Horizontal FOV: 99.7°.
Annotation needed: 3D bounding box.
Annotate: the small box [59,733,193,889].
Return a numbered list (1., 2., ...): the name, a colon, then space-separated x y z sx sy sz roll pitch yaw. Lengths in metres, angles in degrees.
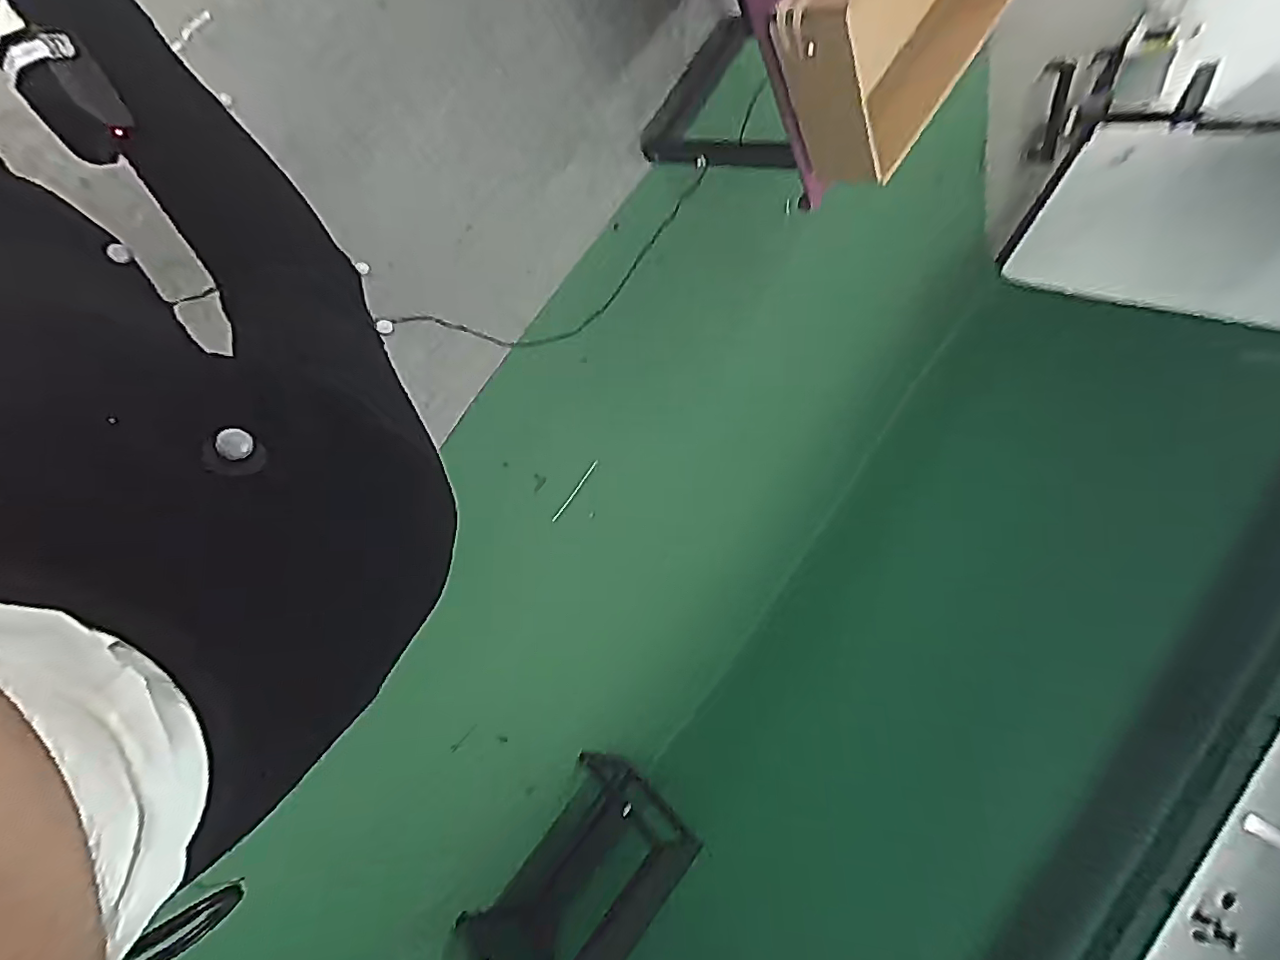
1. small box: -1.017 0.637 1.069 0.179 0.176 0.168 2 114 -47
